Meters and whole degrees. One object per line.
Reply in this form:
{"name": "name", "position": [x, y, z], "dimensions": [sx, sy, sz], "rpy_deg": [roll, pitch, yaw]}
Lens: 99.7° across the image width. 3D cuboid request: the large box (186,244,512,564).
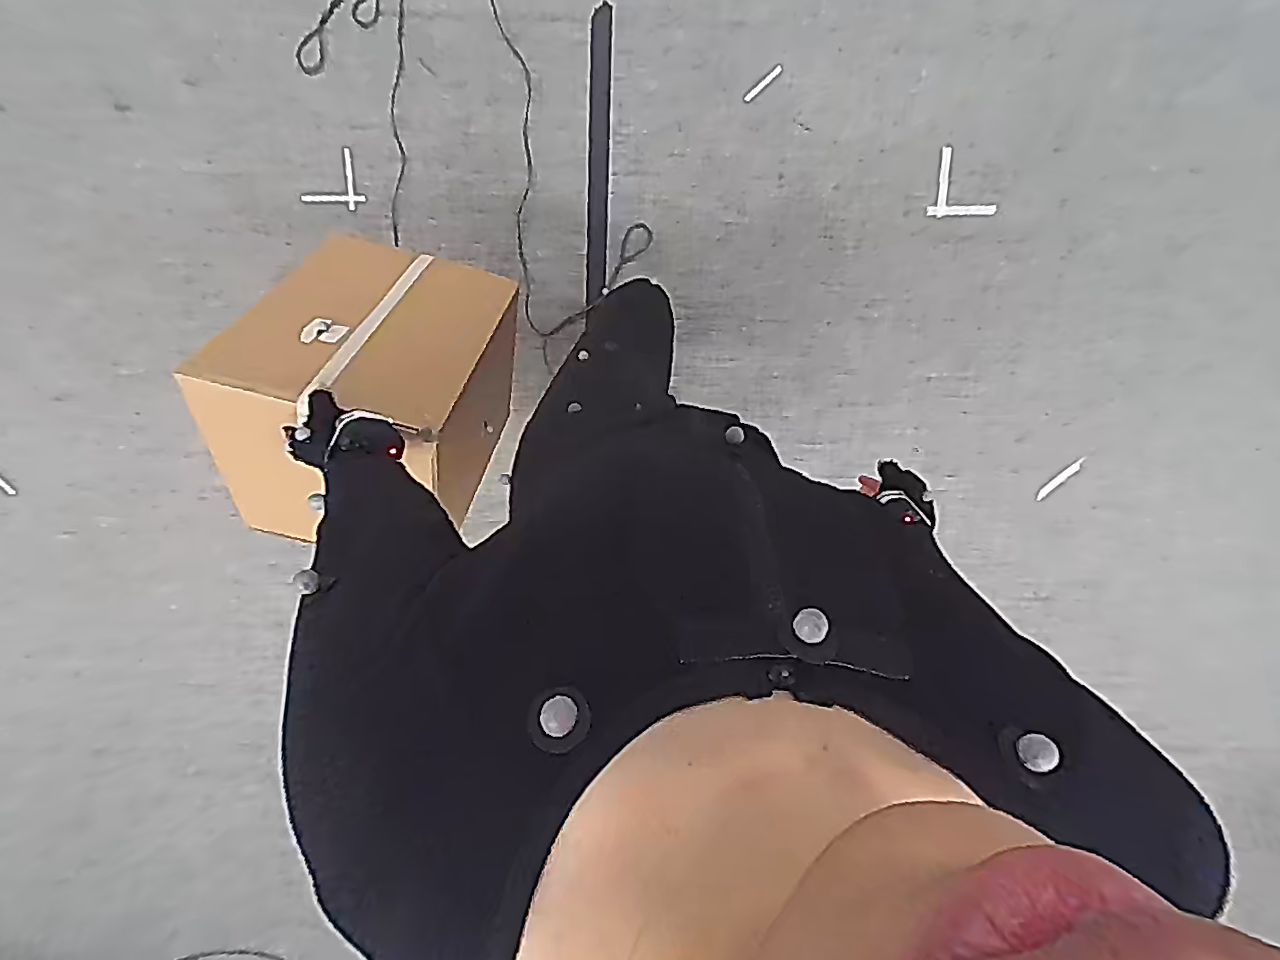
{"name": "large box", "position": [-0.426, -0.130, 0.915], "dimensions": [0.320, 0.408, 0.320], "rpy_deg": [13, 137, -5]}
